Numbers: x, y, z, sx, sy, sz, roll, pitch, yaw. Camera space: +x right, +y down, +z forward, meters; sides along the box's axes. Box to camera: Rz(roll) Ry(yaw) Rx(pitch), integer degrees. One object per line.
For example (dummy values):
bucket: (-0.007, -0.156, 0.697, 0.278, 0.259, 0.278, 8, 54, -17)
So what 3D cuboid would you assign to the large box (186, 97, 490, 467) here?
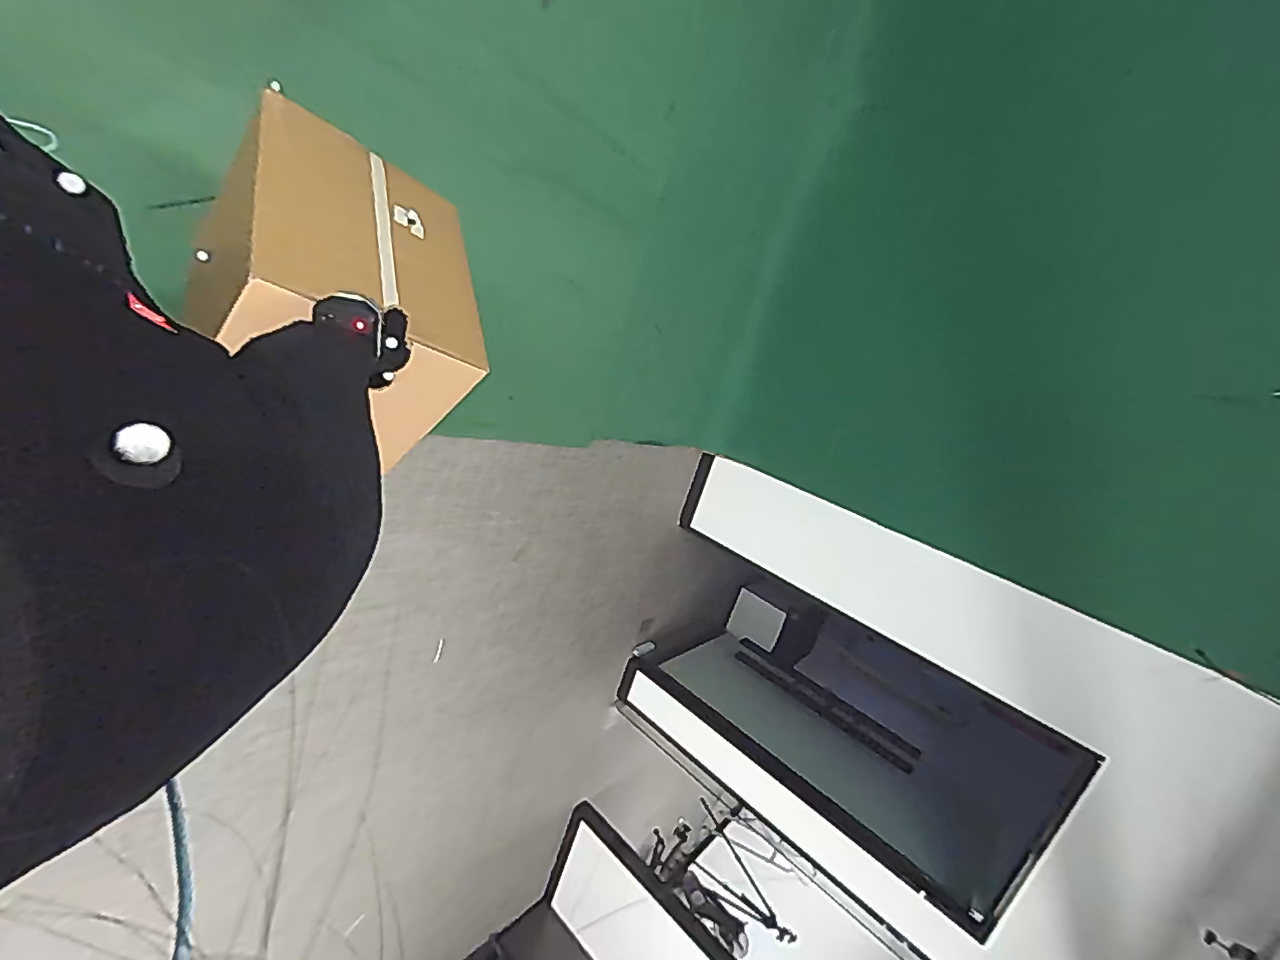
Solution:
large box: (-0.489, -0.284, 0.876, 0.320, 0.408, 0.320, -35, 149, 28)
